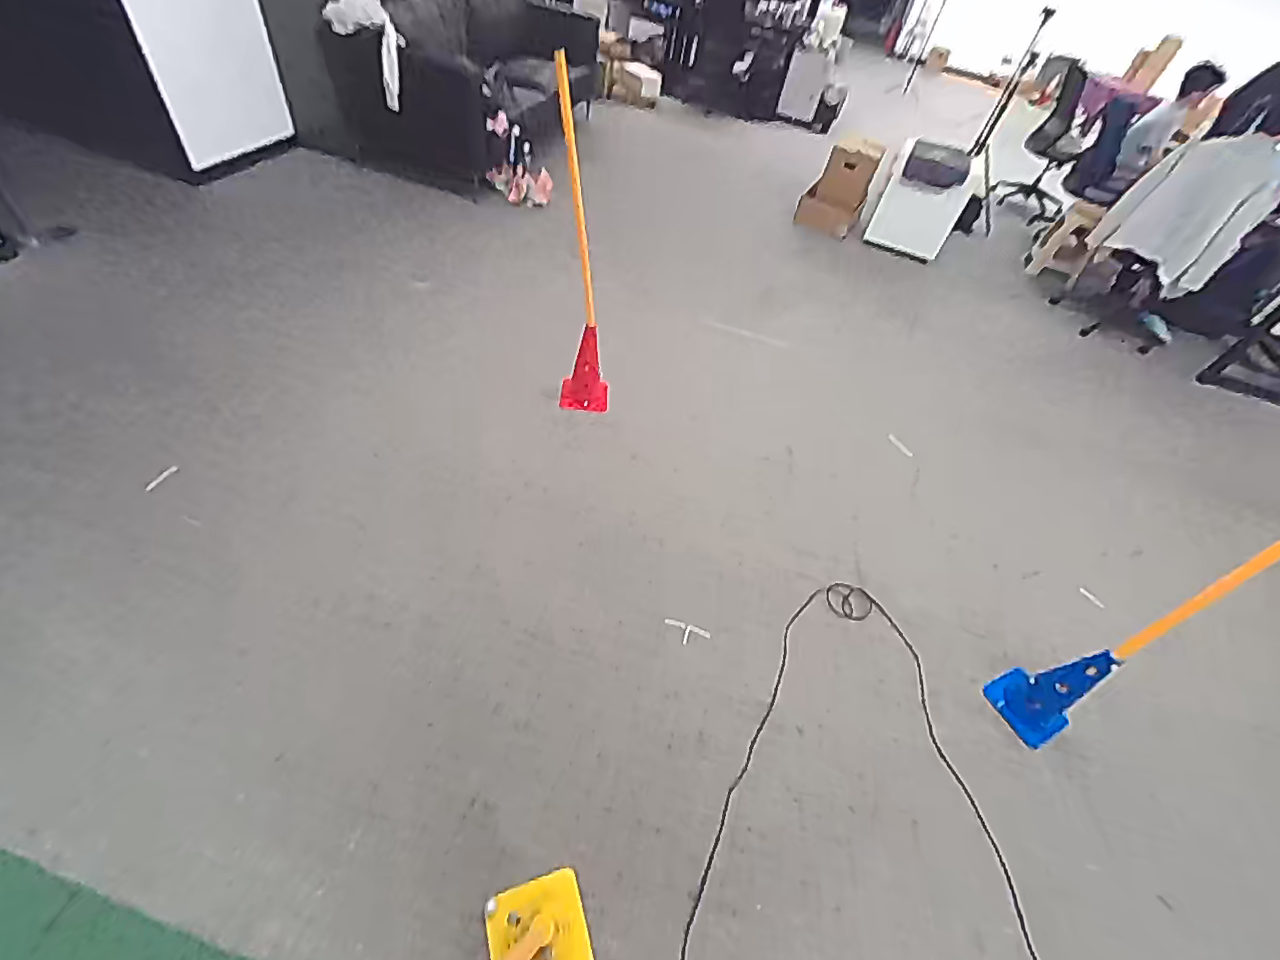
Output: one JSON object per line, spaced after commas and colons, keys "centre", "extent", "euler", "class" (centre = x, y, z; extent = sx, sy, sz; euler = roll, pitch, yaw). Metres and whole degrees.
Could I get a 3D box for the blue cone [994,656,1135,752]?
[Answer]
{"centre": [1.223, 0.592, 1.533], "extent": [0.193, 0.380, 0.192], "euler": [-15, 52, -26], "class": "blue cone"}
